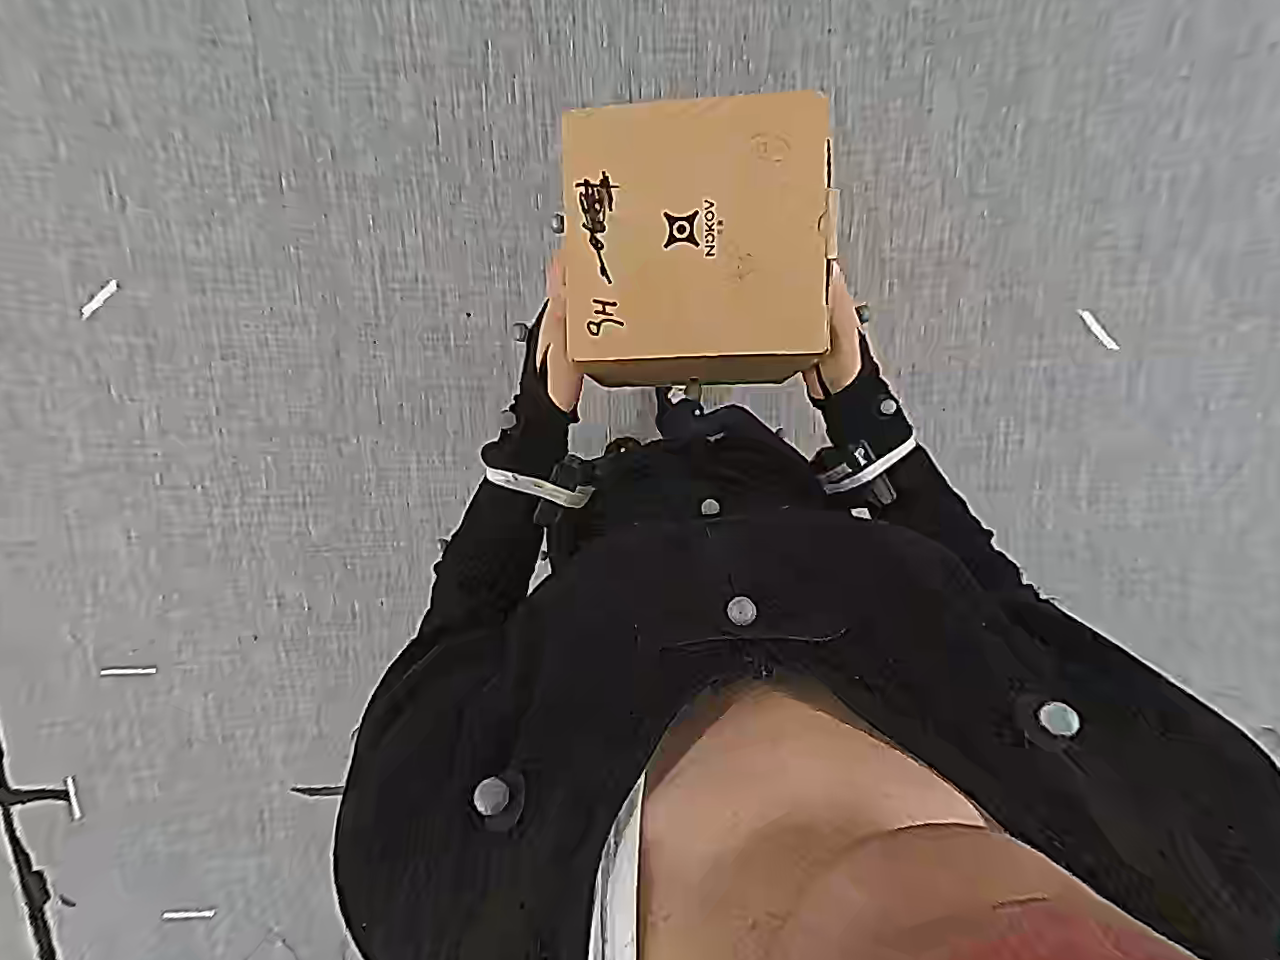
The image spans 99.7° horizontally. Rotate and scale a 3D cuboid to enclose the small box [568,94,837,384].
[{"bbox_3d":[0.044,-0.170,0.434,0.179,0.176,0.168,-1,94,4],"label":"small box"}]
